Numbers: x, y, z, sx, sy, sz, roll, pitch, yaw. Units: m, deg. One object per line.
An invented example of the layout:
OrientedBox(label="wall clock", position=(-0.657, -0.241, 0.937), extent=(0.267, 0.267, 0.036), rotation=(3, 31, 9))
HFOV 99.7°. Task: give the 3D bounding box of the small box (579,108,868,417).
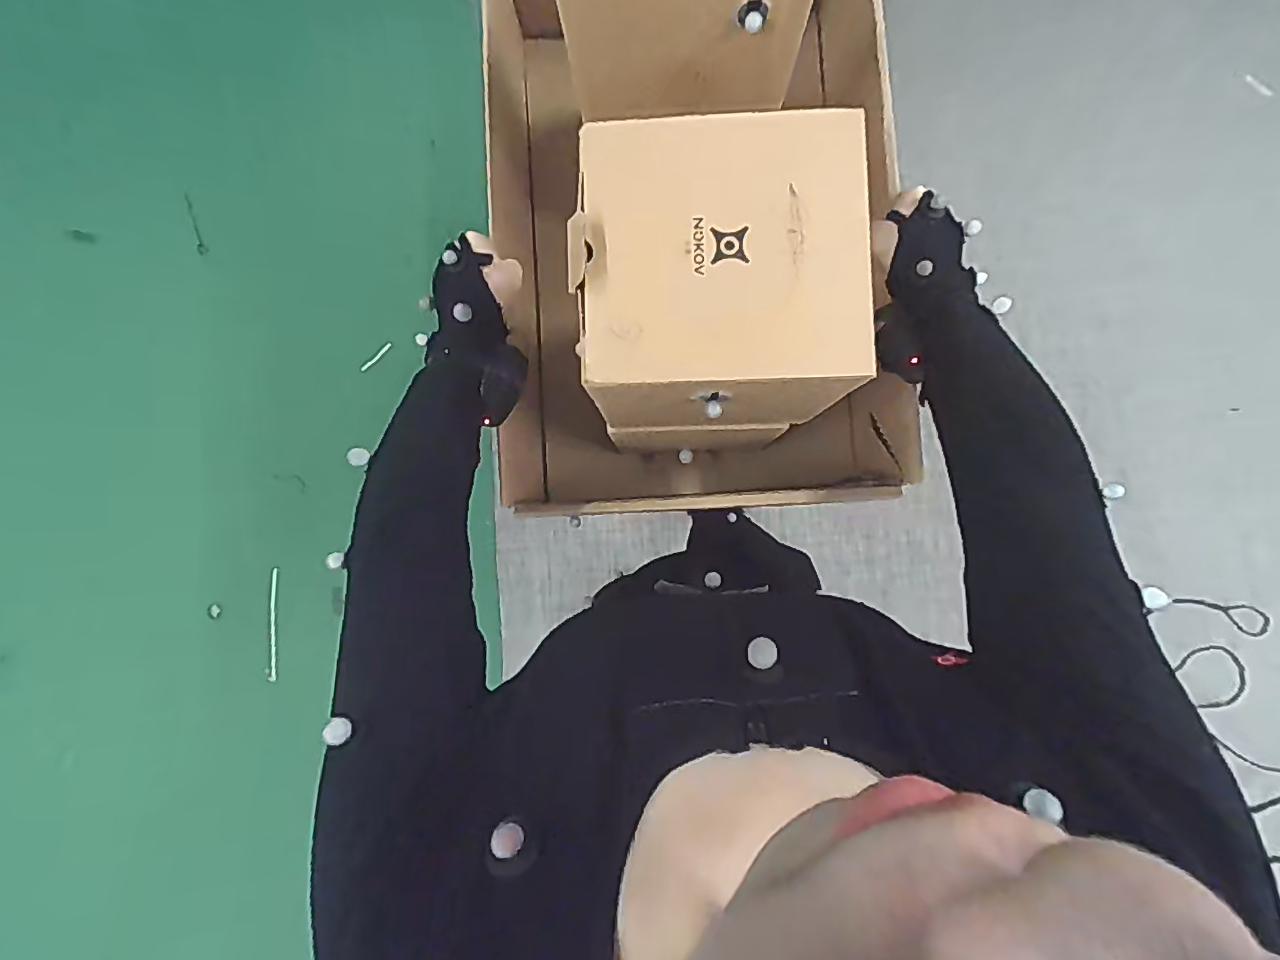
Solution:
OrientedBox(label="small box", position=(0.054, -0.142, 0.412), extent=(0.179, 0.176, 0.168), rotation=(-1, 88, 2))

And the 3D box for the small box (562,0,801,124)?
OrientedBox(label="small box", position=(0.031, -0.402, 0.426), extent=(0.179, 0.176, 0.168), rotation=(-1, 88, 1))
